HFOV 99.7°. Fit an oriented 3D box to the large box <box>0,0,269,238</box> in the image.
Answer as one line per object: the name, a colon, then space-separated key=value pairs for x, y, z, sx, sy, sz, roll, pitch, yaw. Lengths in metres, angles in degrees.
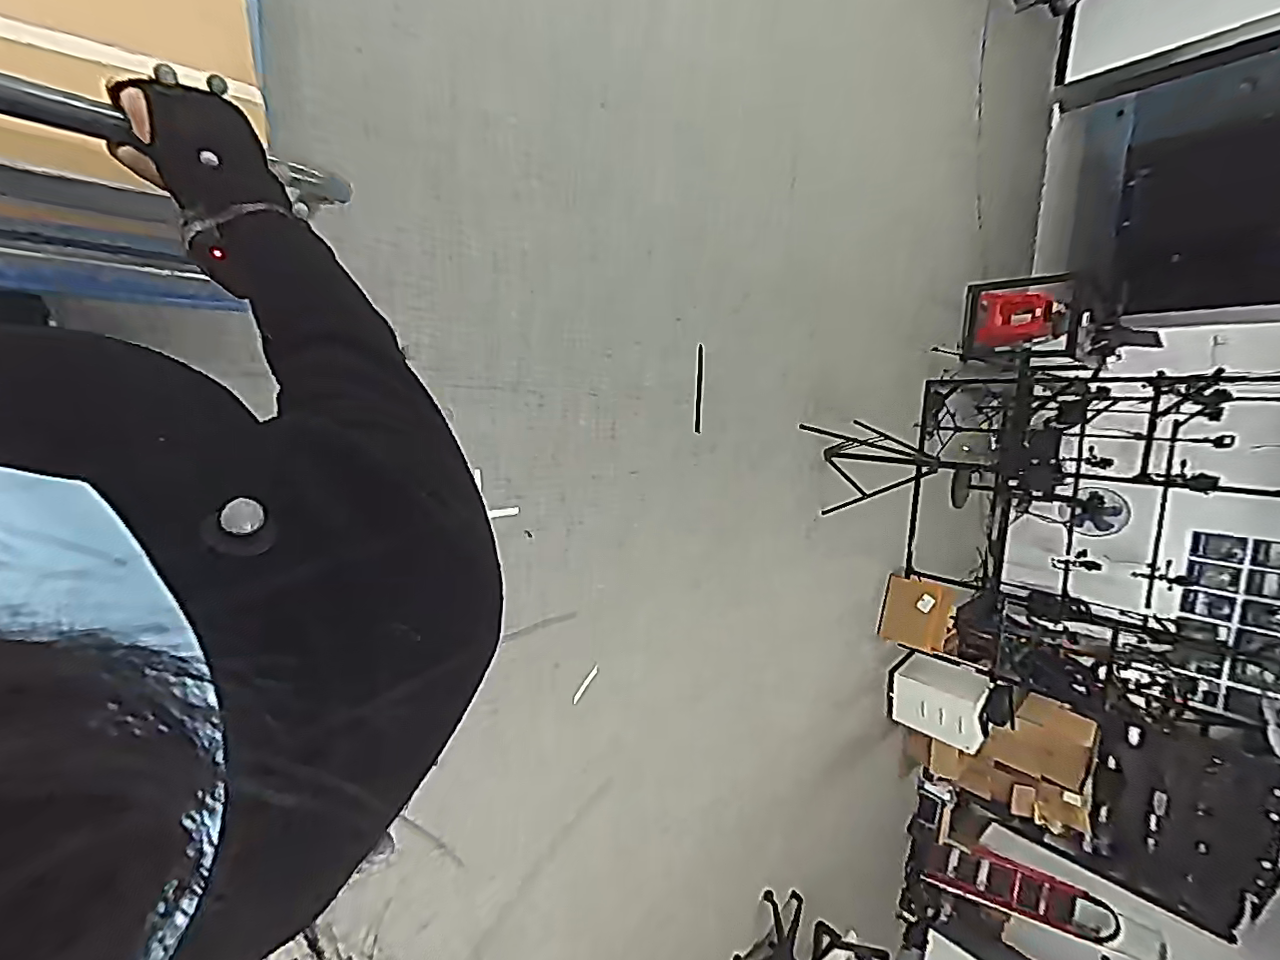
large box: x=-0.834 y=-0.571 z=0.789 sx=0.408 sy=0.320 sz=0.320 roll=-12 pitch=106 yaw=-43
